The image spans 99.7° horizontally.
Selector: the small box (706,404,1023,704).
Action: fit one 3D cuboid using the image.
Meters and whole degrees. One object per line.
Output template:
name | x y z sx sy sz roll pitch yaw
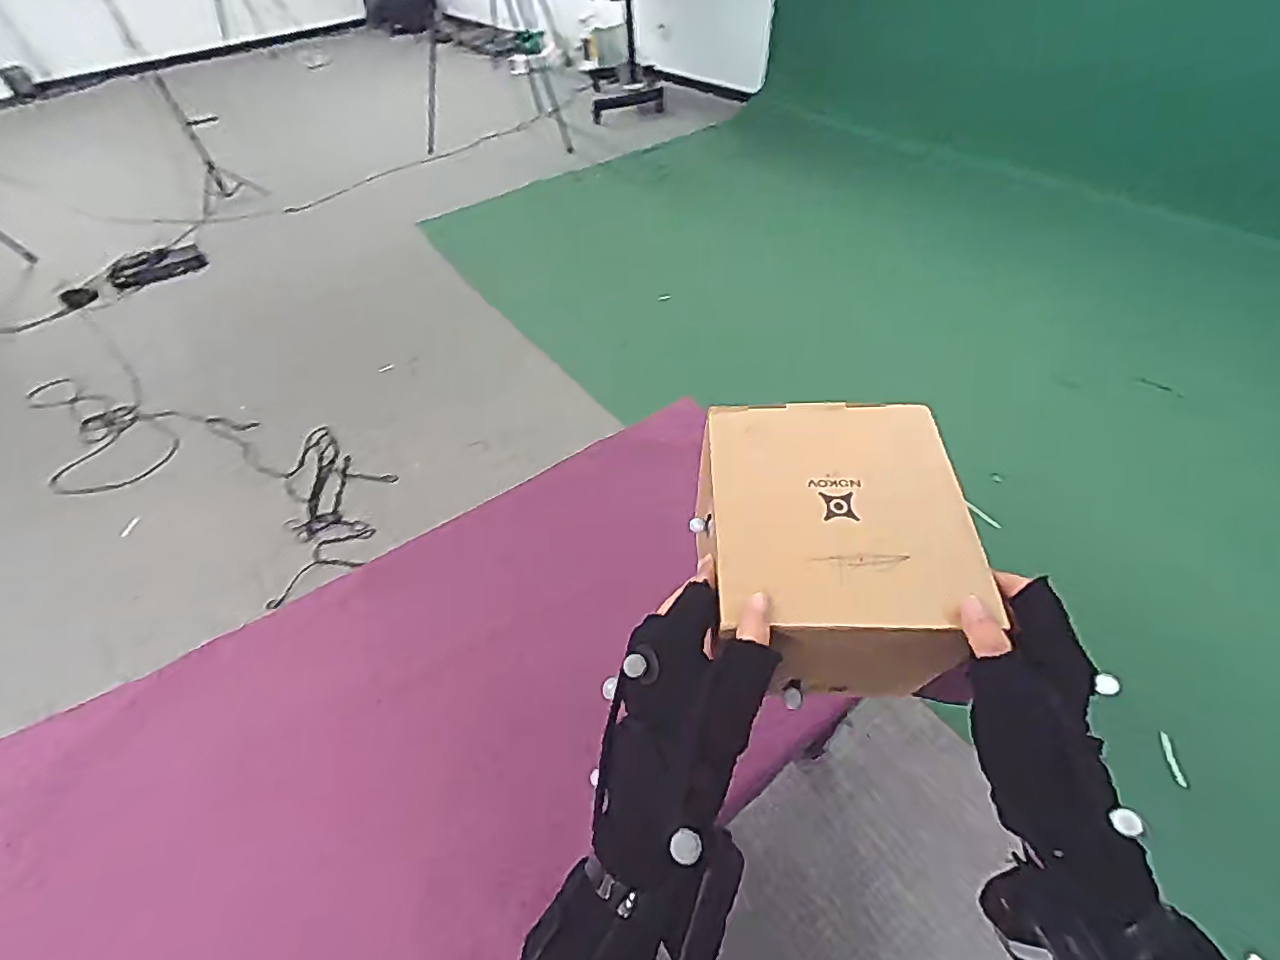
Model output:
small box | 0.140 0.061 0.420 0.168 0.176 0.179 0 56 3
